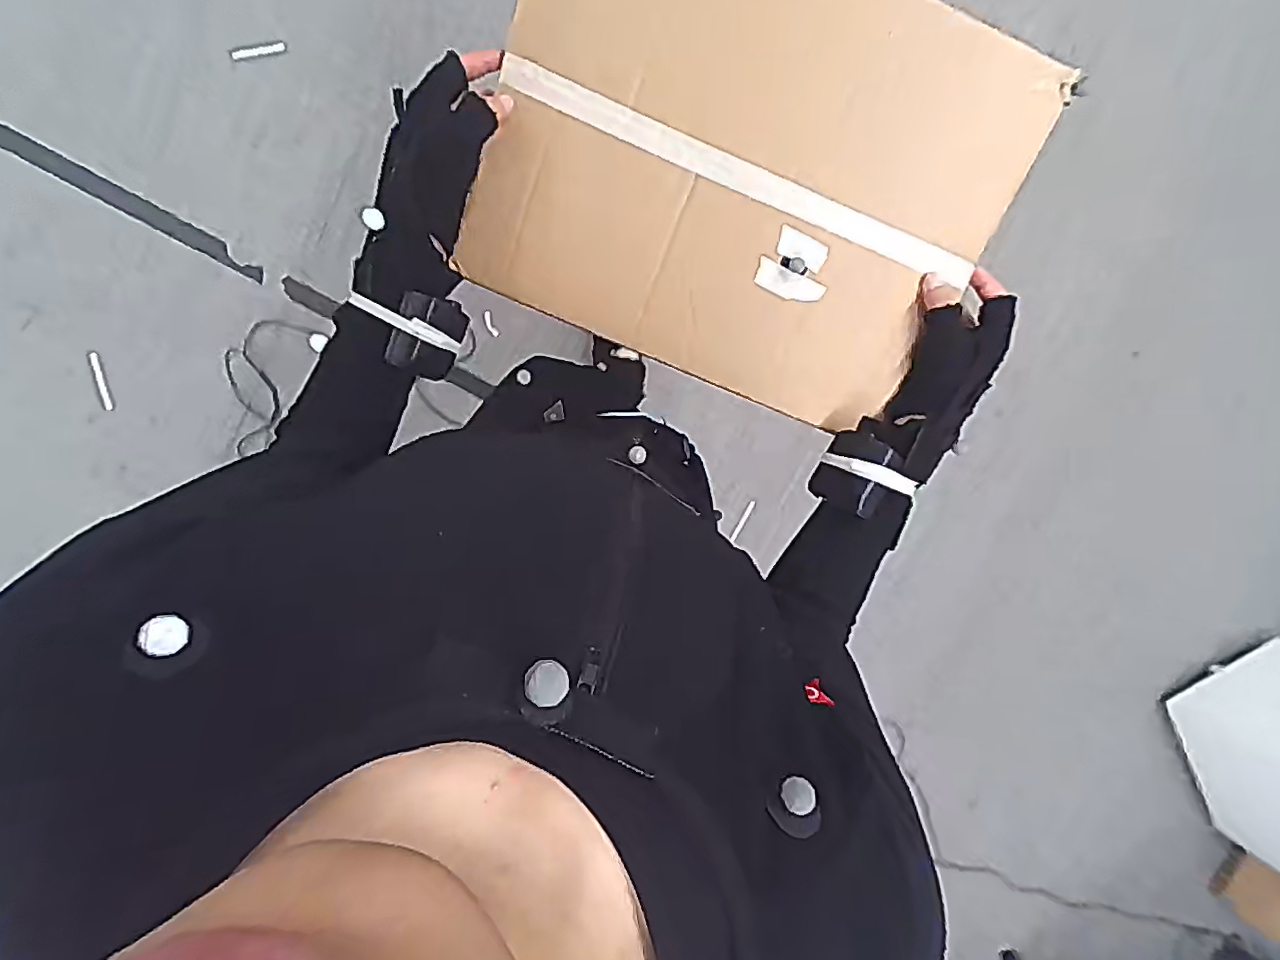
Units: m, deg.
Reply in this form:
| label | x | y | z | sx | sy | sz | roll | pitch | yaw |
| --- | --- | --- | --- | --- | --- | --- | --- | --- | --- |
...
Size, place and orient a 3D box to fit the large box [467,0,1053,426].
| label | x | y | z | sx | sy | sz | roll | pitch | yaw |
| --- | --- | --- | --- | --- | --- | --- | --- | --- | --- |
| large box | 0.087 | -0.296 | 0.588 | 0.408 | 0.320 | 0.320 | 22 | 107 | -6 |
